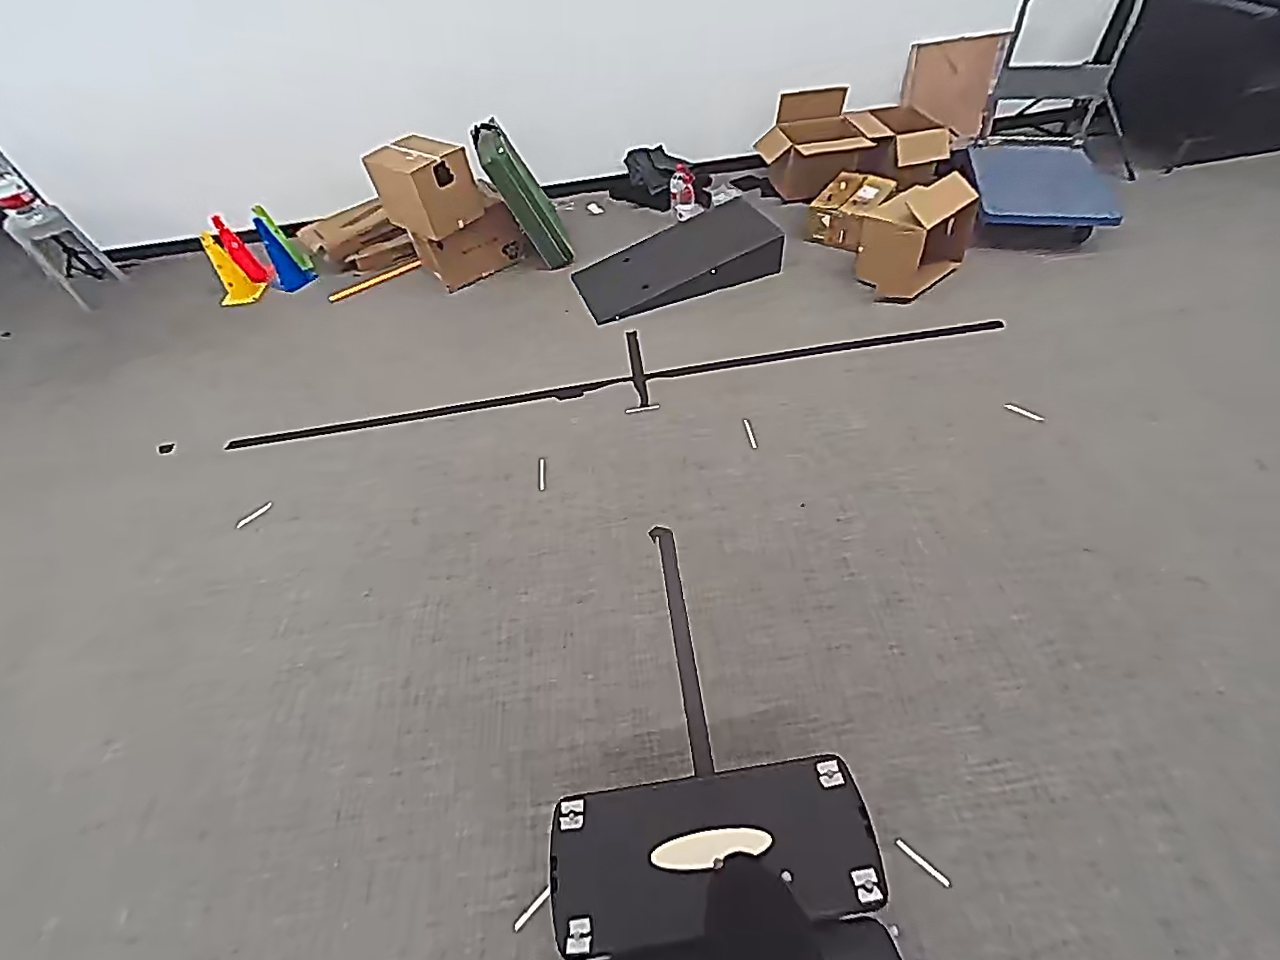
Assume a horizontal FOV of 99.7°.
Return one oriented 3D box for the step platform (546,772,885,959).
[{"bbox_3d":[0.144,0.837,1.152,0.684,0.204,0.286,-9,51,-2],"label":"step platform"}]
